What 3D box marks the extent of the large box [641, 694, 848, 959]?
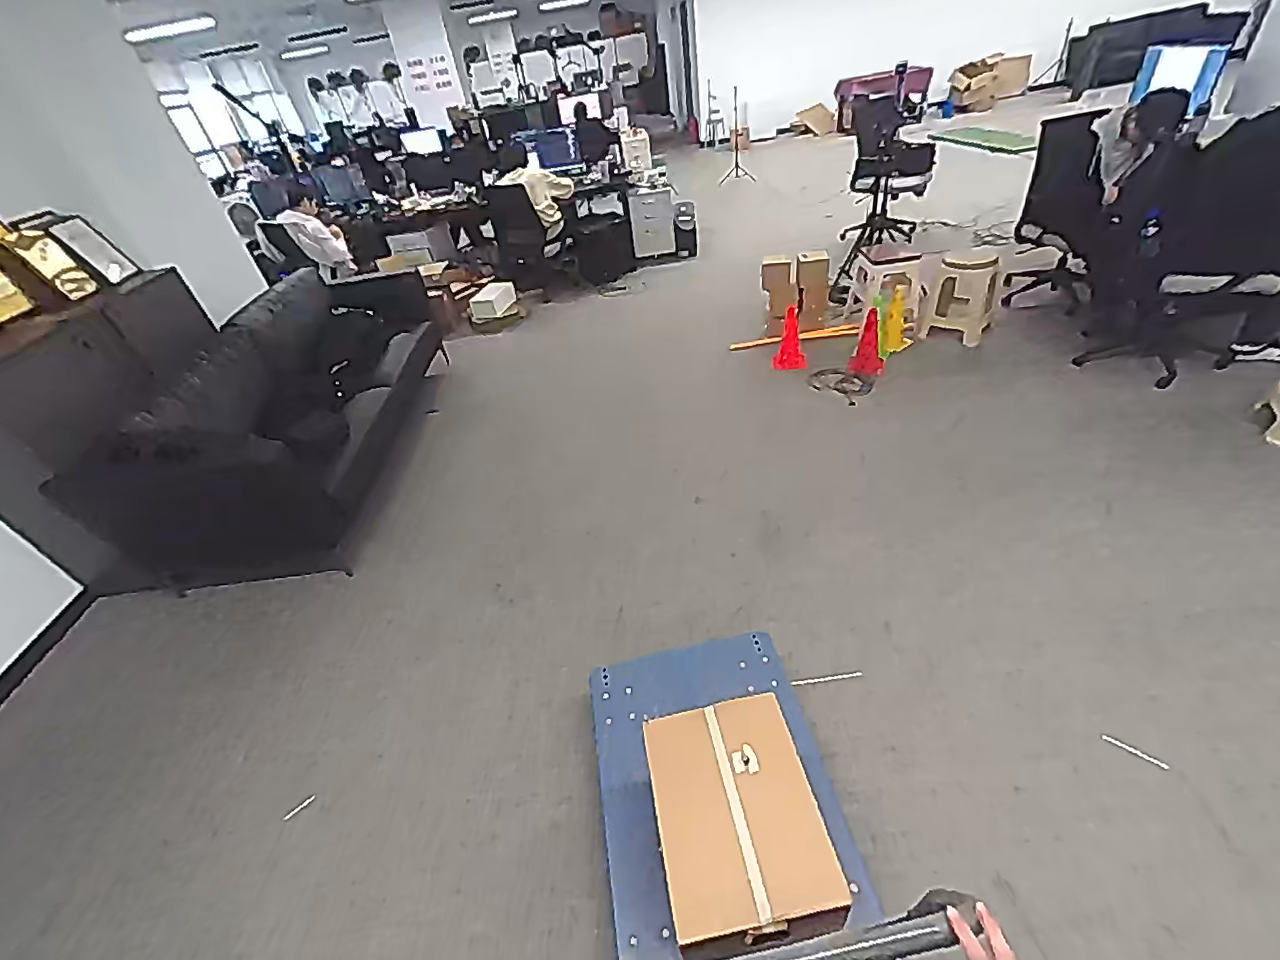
[{"bbox_3d":[0.208,0.759,1.179,0.320,0.320,0.408,-12,38,-2],"label":"large box"}]
